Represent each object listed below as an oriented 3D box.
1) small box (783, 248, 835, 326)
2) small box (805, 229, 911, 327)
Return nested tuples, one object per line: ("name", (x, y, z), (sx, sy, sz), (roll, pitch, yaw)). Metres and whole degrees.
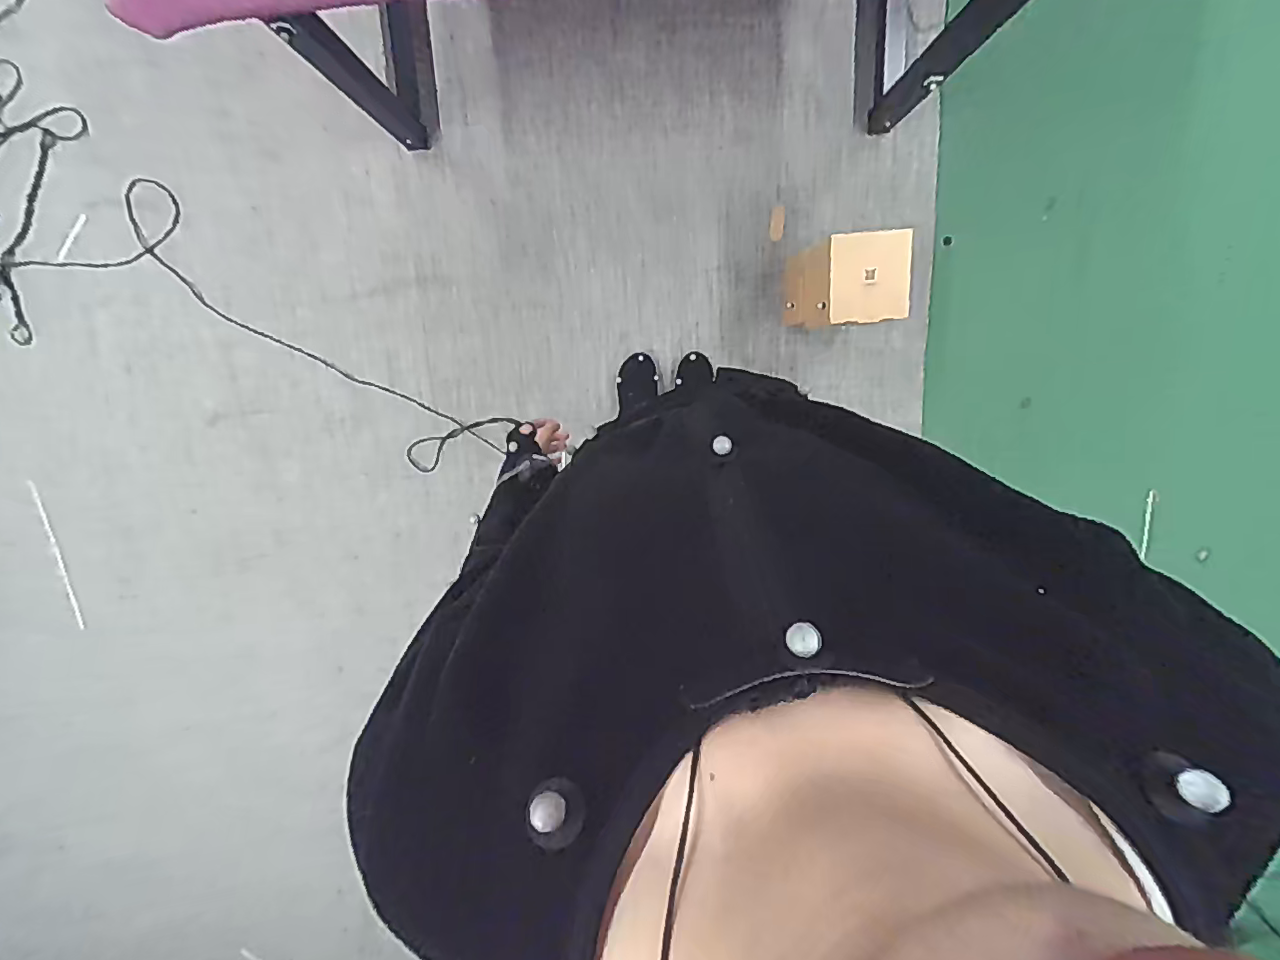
("small box", (0.459, -0.469, 1.332), (0.179, 0.176, 0.168), (-1, 103, 0))
("small box", (0.464, -0.431, 1.174), (0.168, 0.176, 0.179), (-4, 104, 1))
